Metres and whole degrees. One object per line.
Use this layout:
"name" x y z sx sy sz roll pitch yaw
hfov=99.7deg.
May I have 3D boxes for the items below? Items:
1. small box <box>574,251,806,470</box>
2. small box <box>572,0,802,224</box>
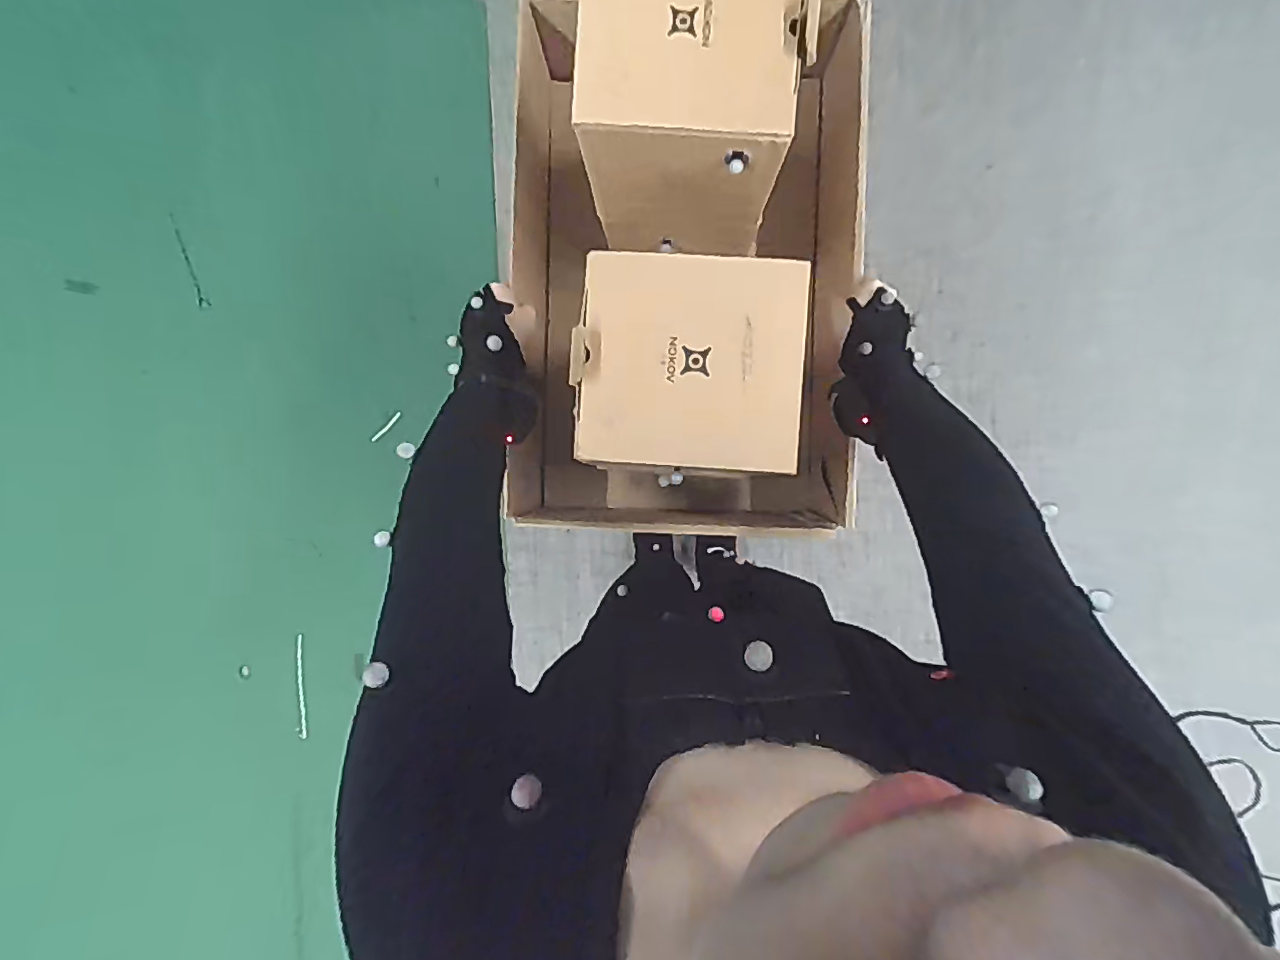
"small box" 0.042 -0.097 0.508 0.179 0.176 0.168 4 92 2
"small box" 0.041 -0.357 0.503 0.179 0.176 0.168 4 93 2
